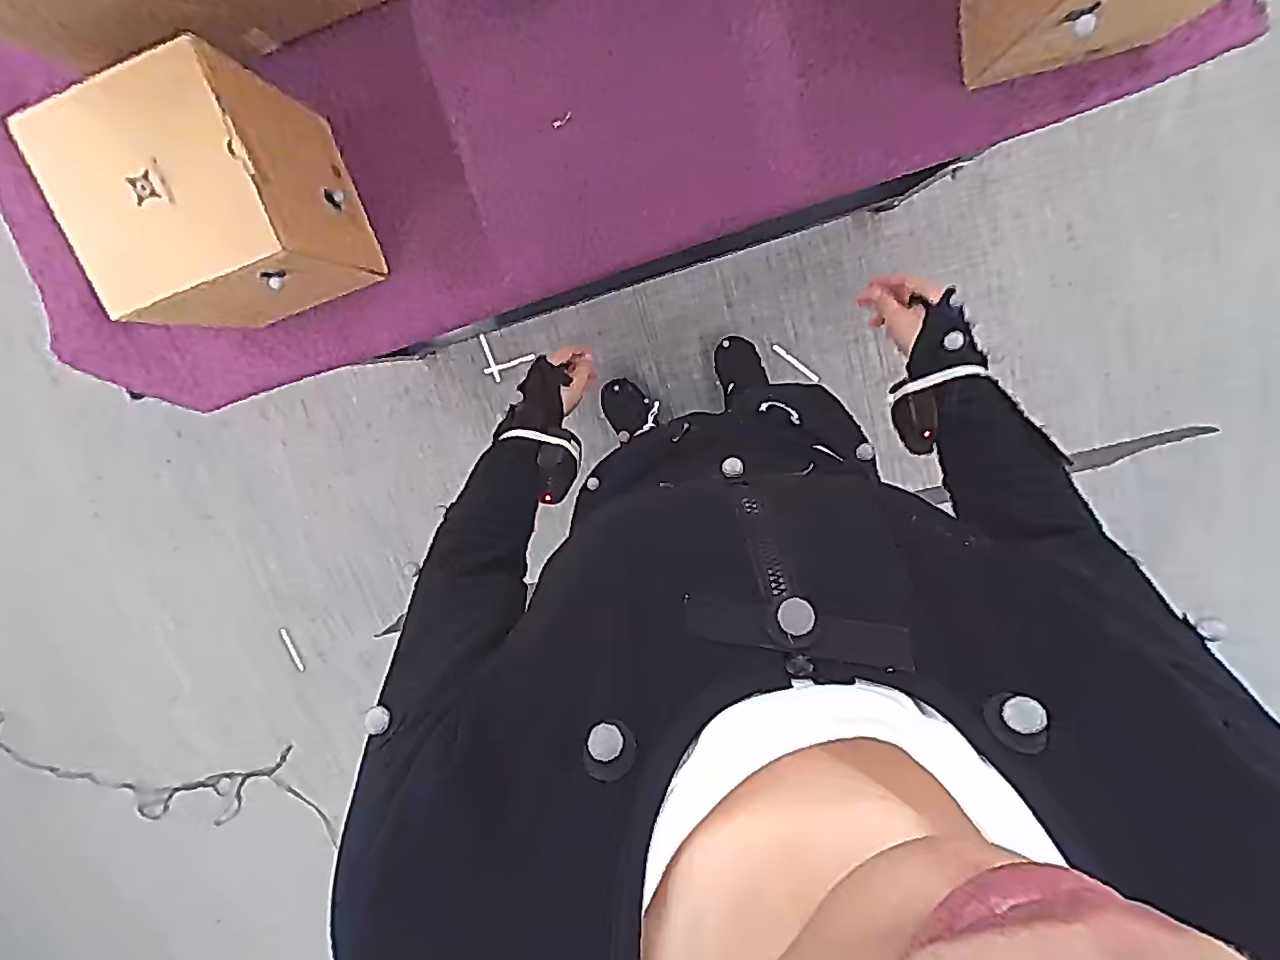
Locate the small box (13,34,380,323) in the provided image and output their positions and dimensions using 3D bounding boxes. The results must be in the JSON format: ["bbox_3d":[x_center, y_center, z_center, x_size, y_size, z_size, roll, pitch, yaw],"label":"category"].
[{"bbox_3d":[-0.393,-0.257,0.515,0.179,0.176,0.168,-19,102,7],"label":"small box"}]
